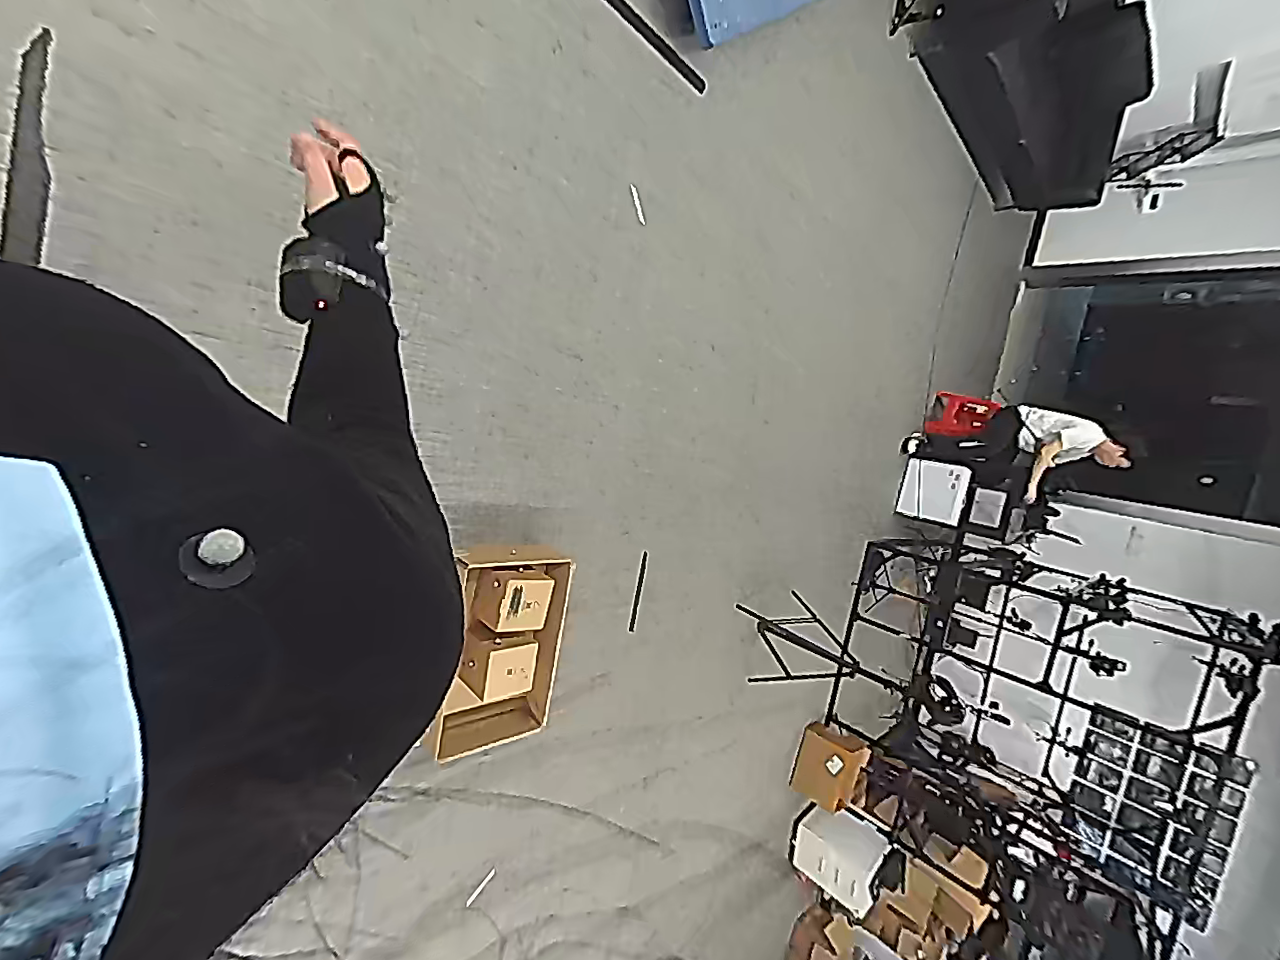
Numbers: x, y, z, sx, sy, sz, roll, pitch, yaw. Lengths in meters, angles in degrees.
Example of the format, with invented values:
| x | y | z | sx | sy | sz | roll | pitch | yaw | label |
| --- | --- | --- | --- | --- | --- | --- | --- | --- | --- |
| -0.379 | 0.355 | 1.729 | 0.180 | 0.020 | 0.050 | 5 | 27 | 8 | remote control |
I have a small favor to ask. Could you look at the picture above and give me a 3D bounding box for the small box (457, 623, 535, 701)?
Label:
| x | y | z | sx | sy | sz | roll | pitch | yaw | label |
| --- | --- | --- | --- | --- | --- | --- | --- | --- | --- |
| -0.466 | 0.576 | 1.734 | 0.179 | 0.176 | 0.168 | 4 | 99 | -46 | small box |
